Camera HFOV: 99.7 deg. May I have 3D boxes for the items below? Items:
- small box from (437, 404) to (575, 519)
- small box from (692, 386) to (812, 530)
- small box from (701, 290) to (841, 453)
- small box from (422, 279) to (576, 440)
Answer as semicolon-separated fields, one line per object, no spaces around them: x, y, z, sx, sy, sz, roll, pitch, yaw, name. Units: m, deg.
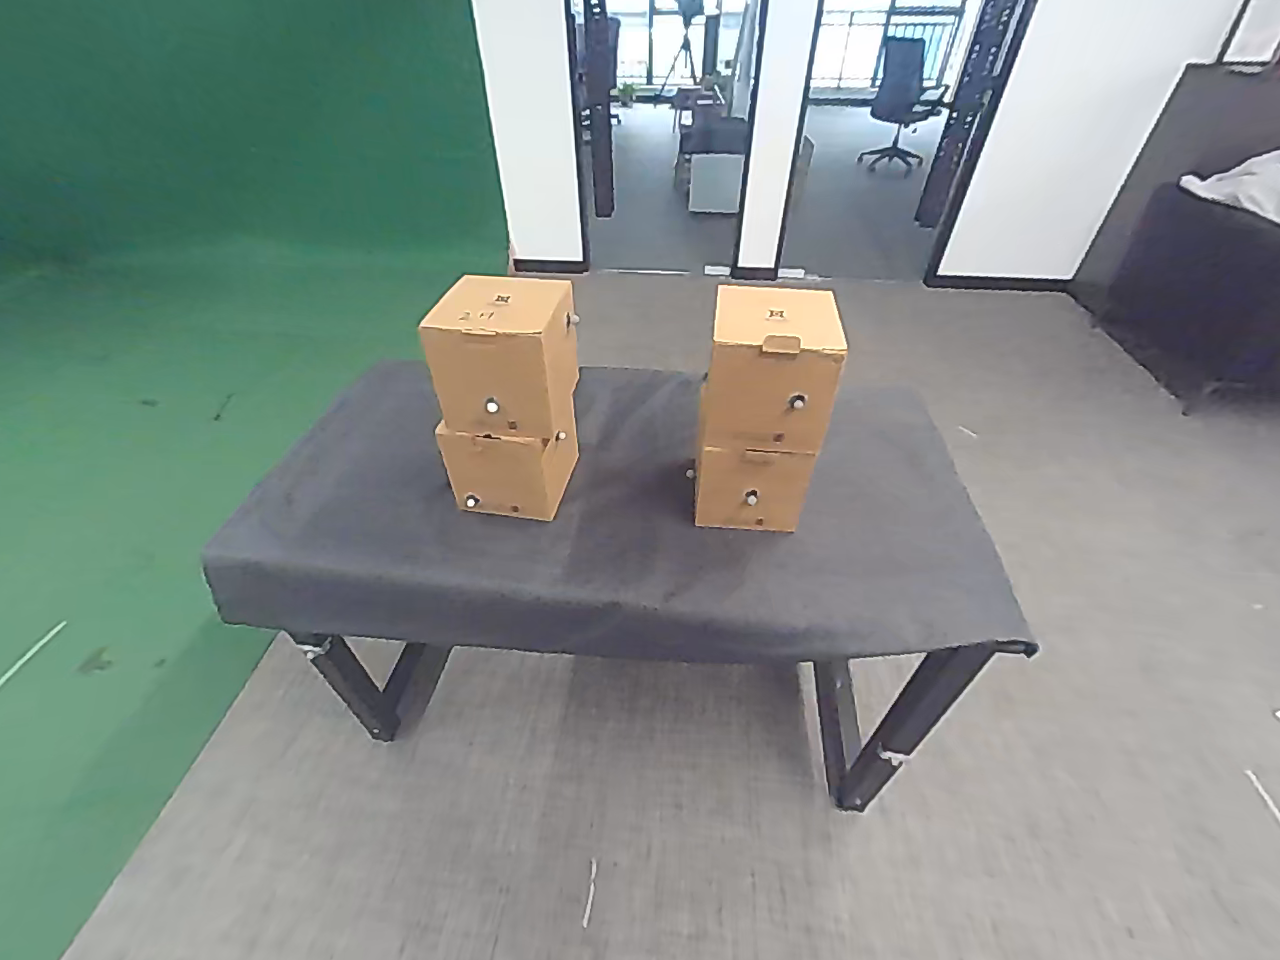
-0.211;-0.055;0.913;0.168;0.176;0.179;7;41;7;small box
0.174;-0.035;0.891;0.168;0.176;0.179;3;43;3;small box
0.179;-0.156;0.782;0.168;0.176;0.179;6;41;5;small box
-0.194;-0.182;0.807;0.168;0.176;0.179;4;42;5;small box
